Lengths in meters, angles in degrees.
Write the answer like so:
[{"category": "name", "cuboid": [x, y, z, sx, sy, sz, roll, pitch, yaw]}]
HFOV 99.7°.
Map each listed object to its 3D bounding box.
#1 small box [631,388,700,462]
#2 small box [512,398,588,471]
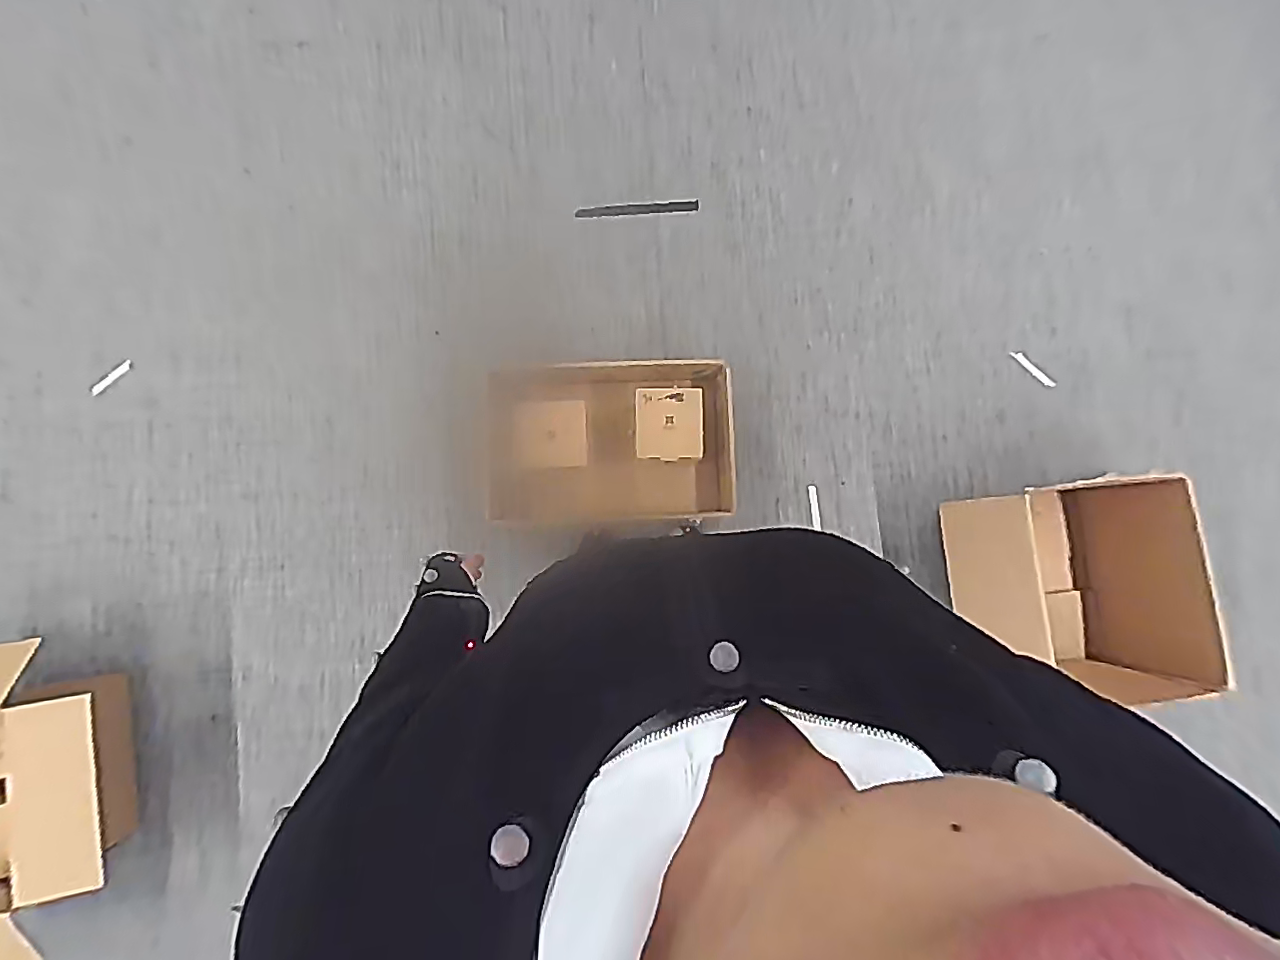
[{"category": "small box", "cuboid": [0.063, -0.137, 1.402, 0.168, 0.176, 0.179, 0, 87, -2]}, {"category": "small box", "cuboid": [-0.225, -0.112, 1.388, 0.179, 0.176, 0.168, -3, 88, -5]}]
